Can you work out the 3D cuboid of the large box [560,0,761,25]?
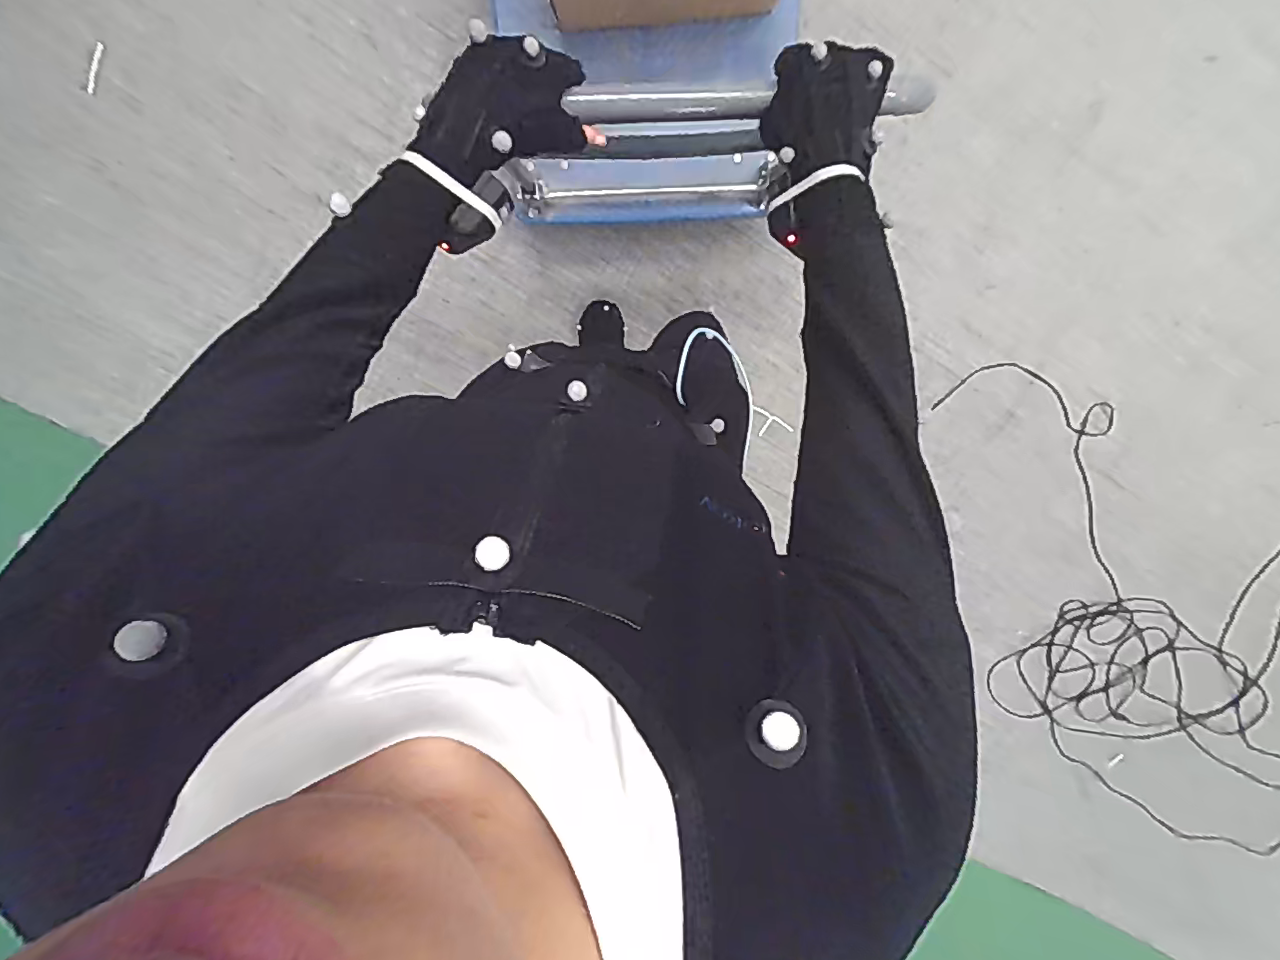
[{"bbox_3d":[0.043,-0.972,0.835,0.408,0.320,0.320,-5,110,2],"label":"large box"}]
